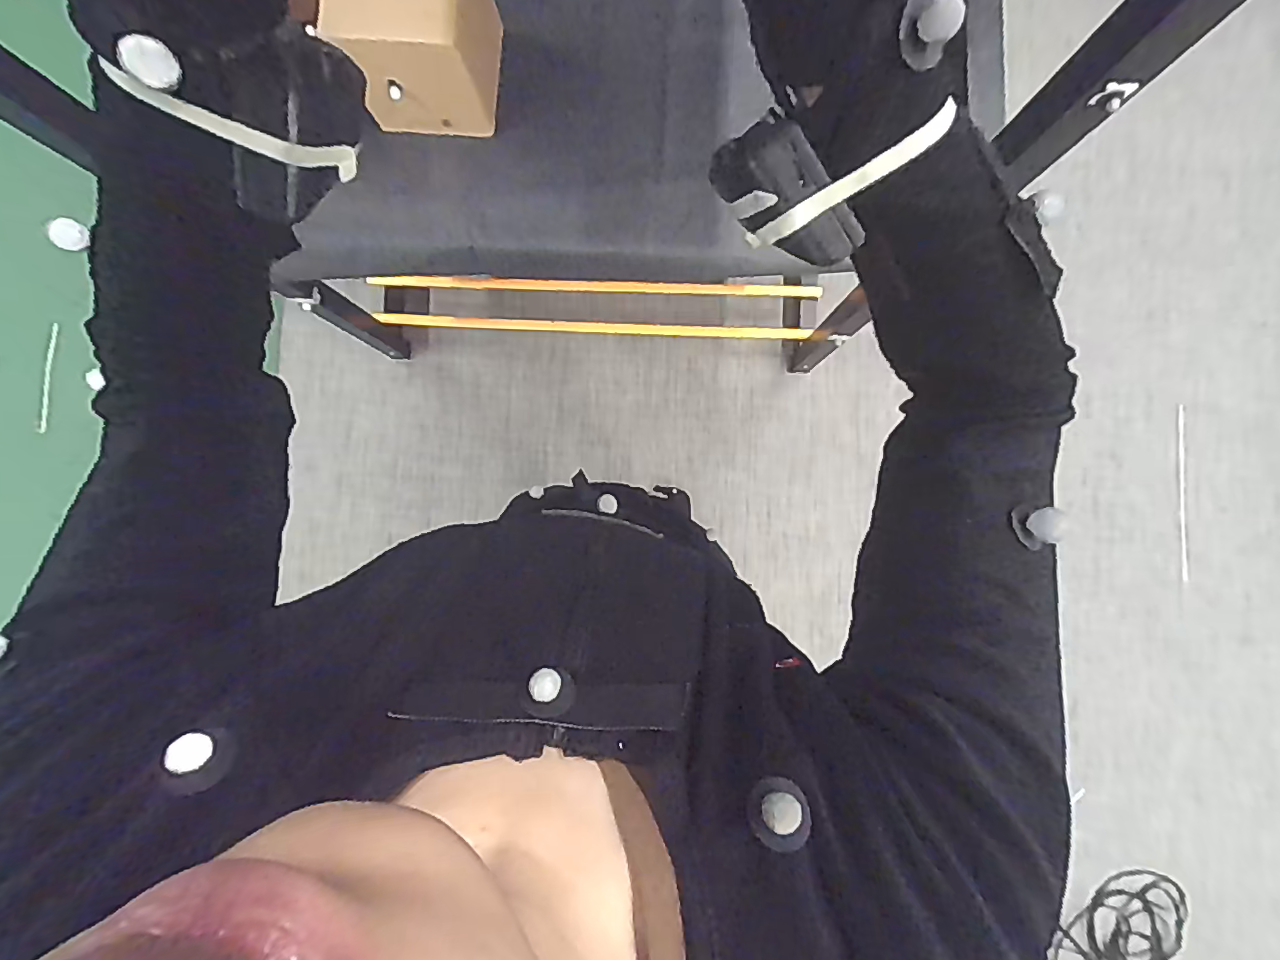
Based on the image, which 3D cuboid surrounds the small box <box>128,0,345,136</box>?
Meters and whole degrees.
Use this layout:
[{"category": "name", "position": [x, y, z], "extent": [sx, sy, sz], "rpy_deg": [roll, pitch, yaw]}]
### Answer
[{"category": "small box", "position": [-0.521, -0.605, 0.725], "extent": [0.168, 0.176, 0.179], "rpy_deg": [2, 87, 0]}]

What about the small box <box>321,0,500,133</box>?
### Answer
[{"category": "small box", "position": [-0.294, -0.604, 0.727], "extent": [0.168, 0.176, 0.179], "rpy_deg": [3, 86, 0]}]
